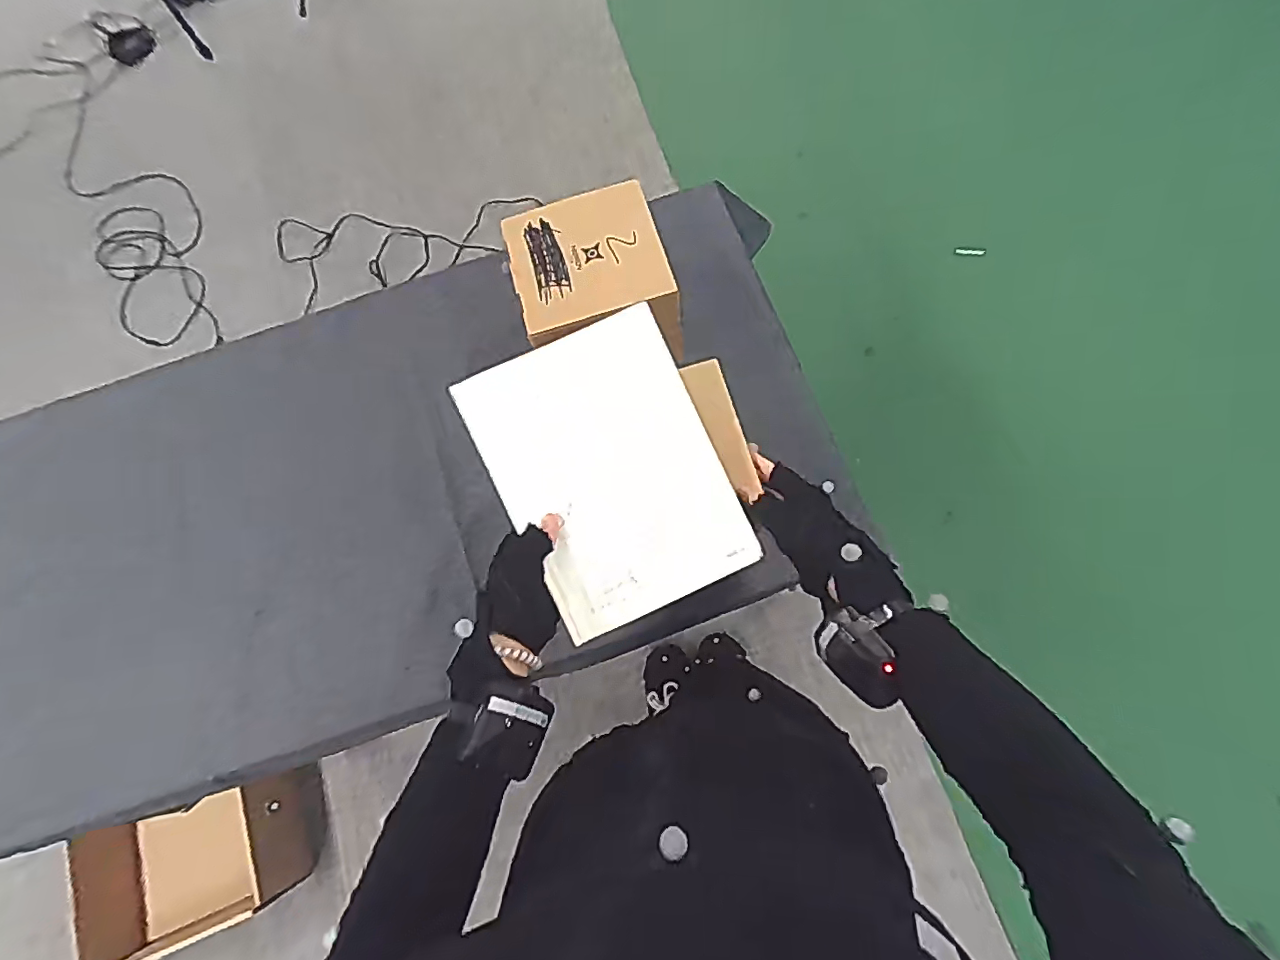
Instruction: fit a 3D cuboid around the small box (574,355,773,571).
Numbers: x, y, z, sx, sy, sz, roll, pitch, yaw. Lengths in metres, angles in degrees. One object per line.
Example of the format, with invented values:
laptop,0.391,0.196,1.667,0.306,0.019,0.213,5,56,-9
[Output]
small box,0.035,-0.008,0.617,0.168,0.176,0.179,-16,73,1
